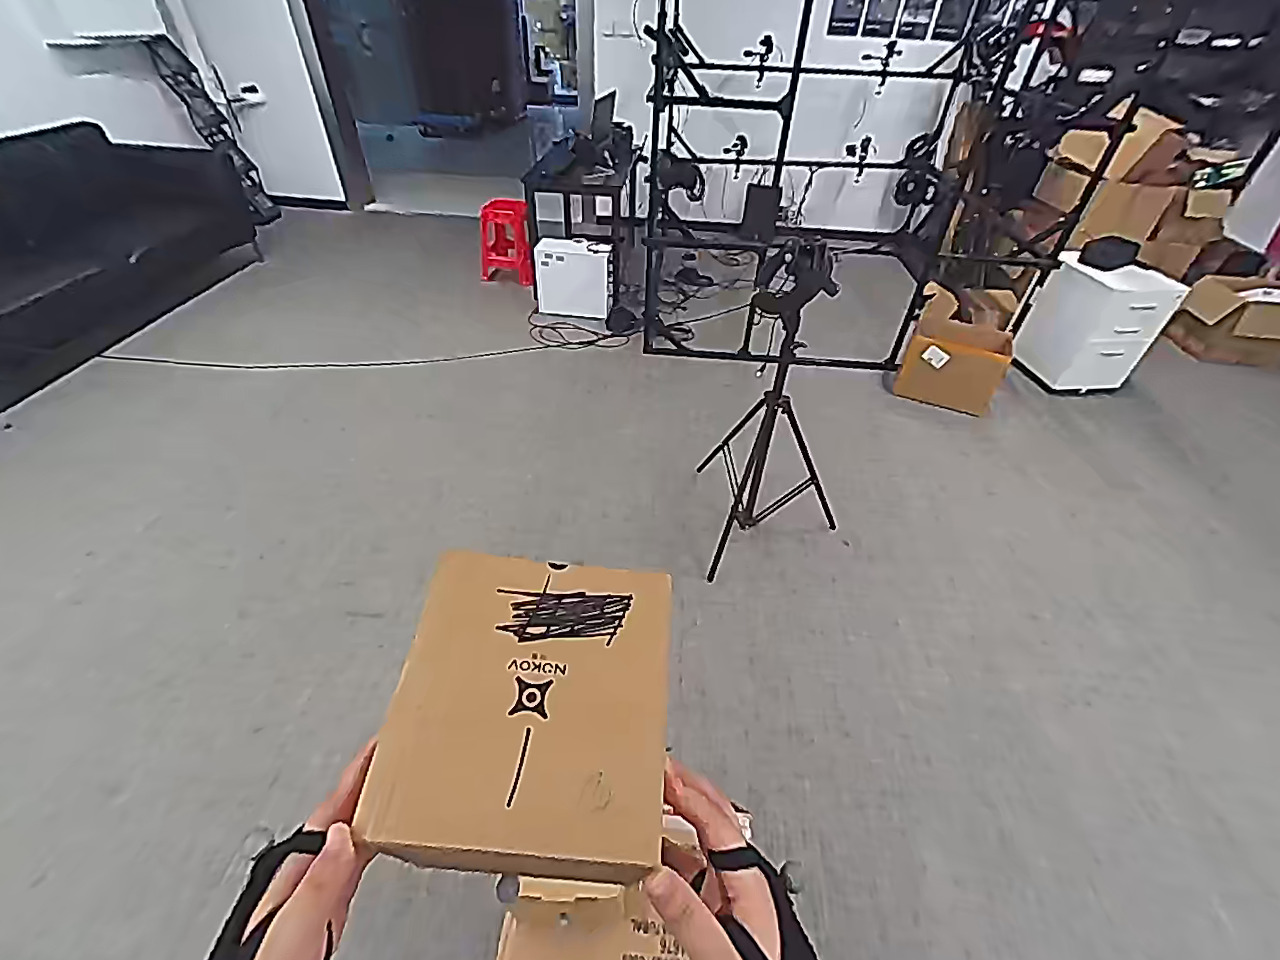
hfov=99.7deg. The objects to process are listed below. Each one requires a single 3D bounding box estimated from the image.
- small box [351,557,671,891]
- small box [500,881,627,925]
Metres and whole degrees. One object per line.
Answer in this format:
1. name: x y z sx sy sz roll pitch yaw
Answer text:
1. small box: -0.072 0.180 0.394 0.168 0.176 0.179 5 50 -1
2. small box: -0.101 0.544 0.815 0.168 0.176 0.179 0 44 1
